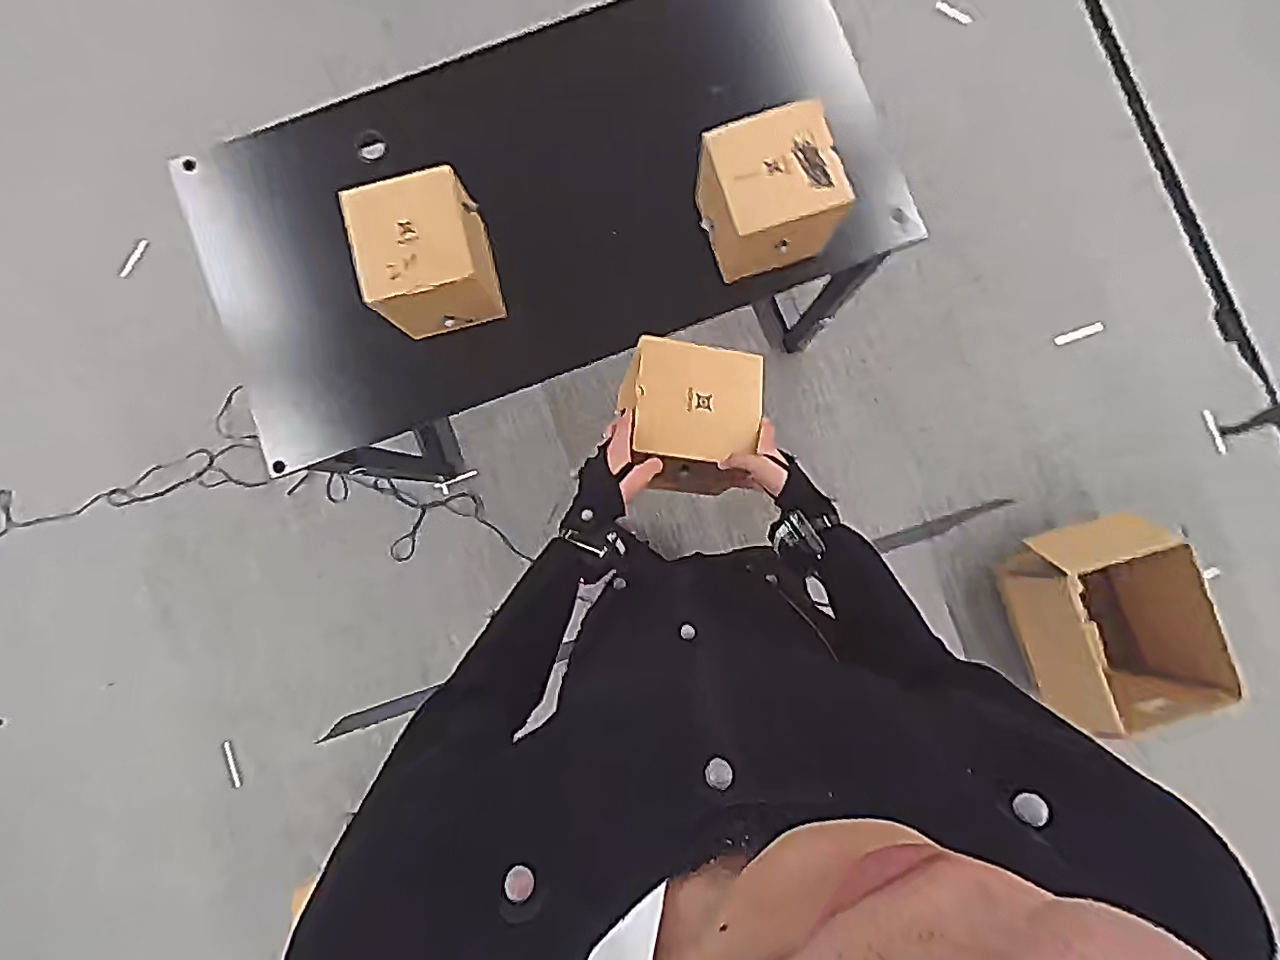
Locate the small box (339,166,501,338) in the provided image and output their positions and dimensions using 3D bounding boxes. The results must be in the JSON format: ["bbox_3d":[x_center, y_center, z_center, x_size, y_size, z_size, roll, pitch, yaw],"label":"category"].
[{"bbox_3d":[-0.338,-0.350,0.859,0.168,0.176,0.179,-15,87,1],"label":"small box"}]

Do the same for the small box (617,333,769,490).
[{"bbox_3d":[0.070,-0.086,0.779,0.179,0.176,0.168,7,75,-9],"label":"small box"}]

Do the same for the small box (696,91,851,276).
[{"bbox_3d":[0.197,-0.450,0.848,0.179,0.176,0.168,-18,87,2],"label":"small box"}]
